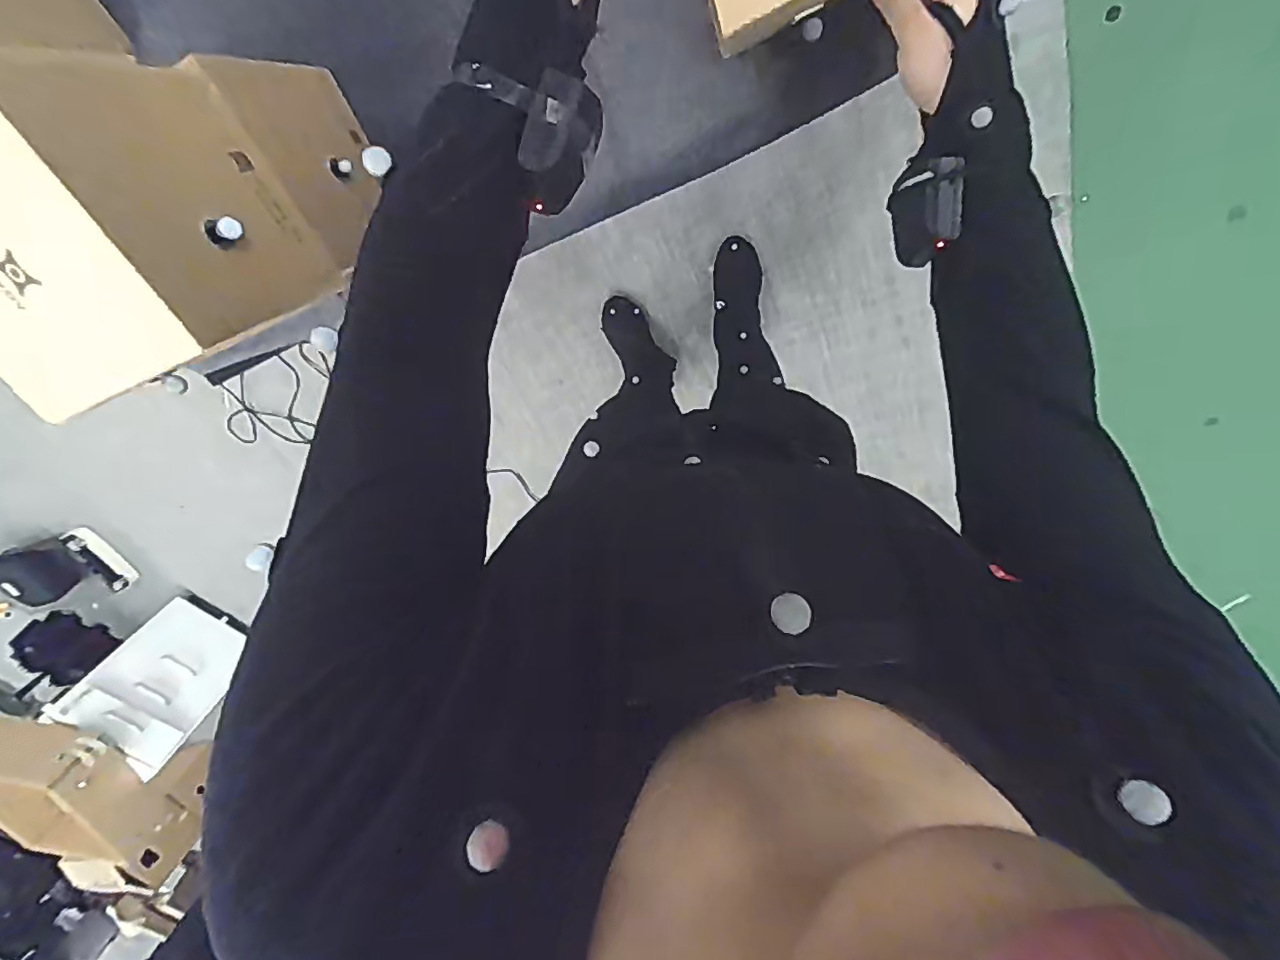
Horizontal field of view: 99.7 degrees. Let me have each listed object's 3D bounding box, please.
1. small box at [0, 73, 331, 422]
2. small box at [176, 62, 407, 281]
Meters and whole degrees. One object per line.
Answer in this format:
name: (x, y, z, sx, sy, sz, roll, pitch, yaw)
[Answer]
small box: (-0.370, -0.172, 0.400, 0.179, 0.176, 0.168, -15, 121, 19)
small box: (-0.360, -0.272, 0.528, 0.179, 0.176, 0.168, -14, 120, 18)
